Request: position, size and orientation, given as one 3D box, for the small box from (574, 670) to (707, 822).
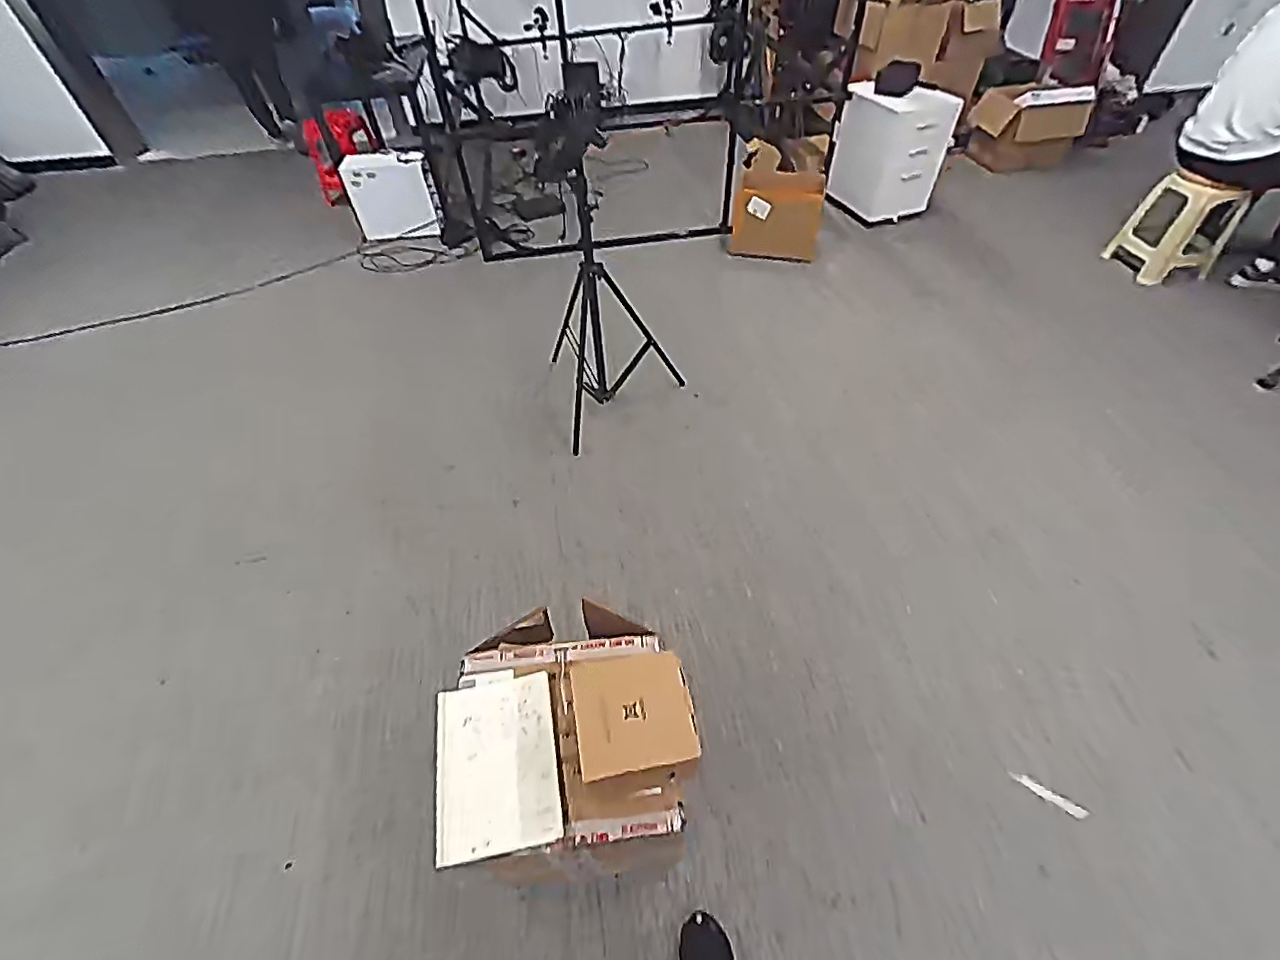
[{"bbox_3d":[-0.004,0.430,0.872,0.179,0.176,0.168,-10,50,-7],"label":"small box"}]
